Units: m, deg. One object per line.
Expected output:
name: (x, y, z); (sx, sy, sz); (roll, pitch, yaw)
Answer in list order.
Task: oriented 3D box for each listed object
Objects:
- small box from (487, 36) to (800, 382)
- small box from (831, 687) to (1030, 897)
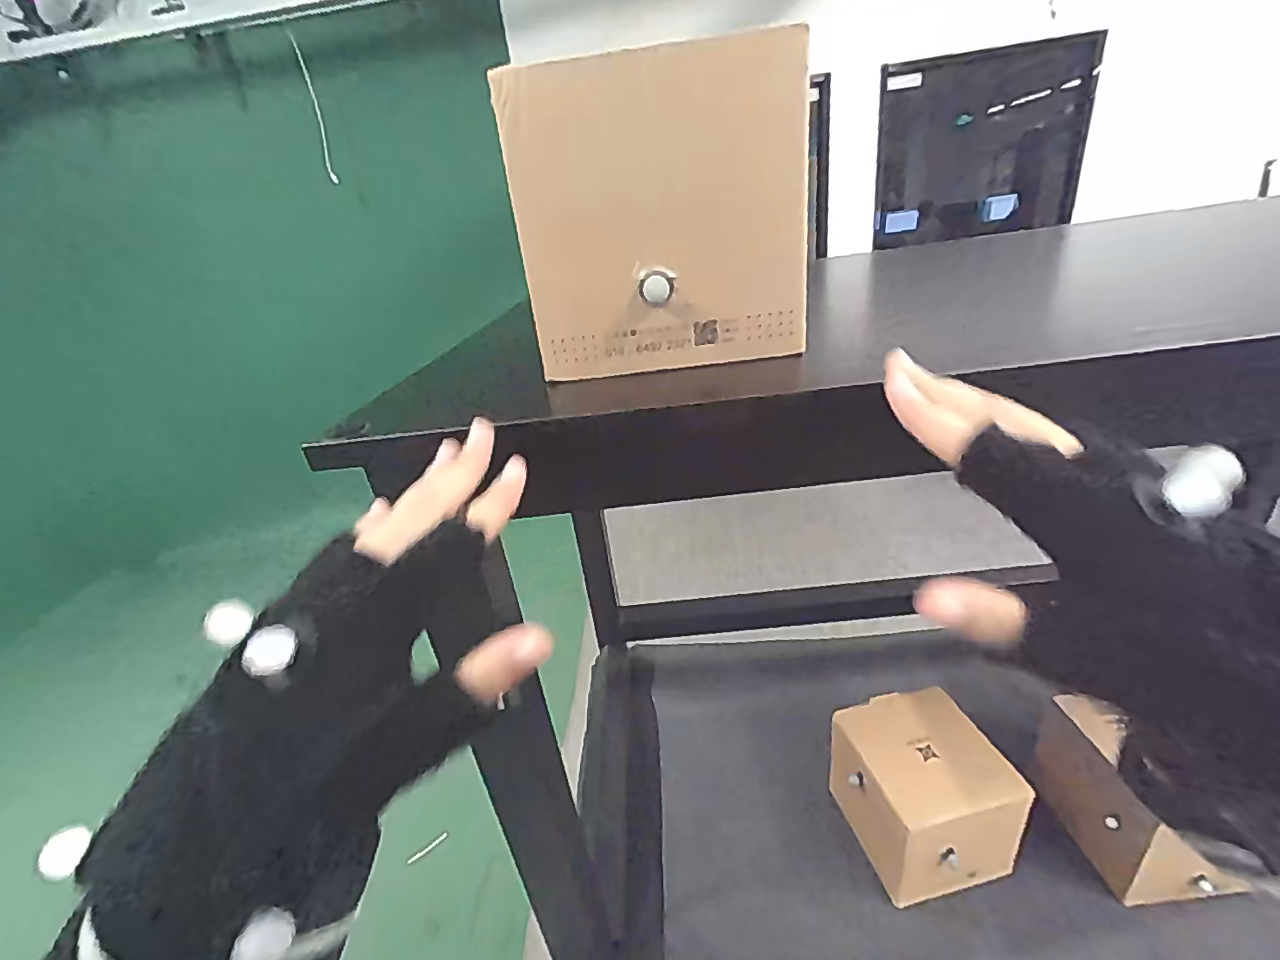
small box: (0.011, -0.177, 0.385); (0.168, 0.176, 0.179); (-6, 26, 4)
small box: (0.376, 0.422, 0.734); (0.168, 0.176, 0.179); (-11, 25, -6)
